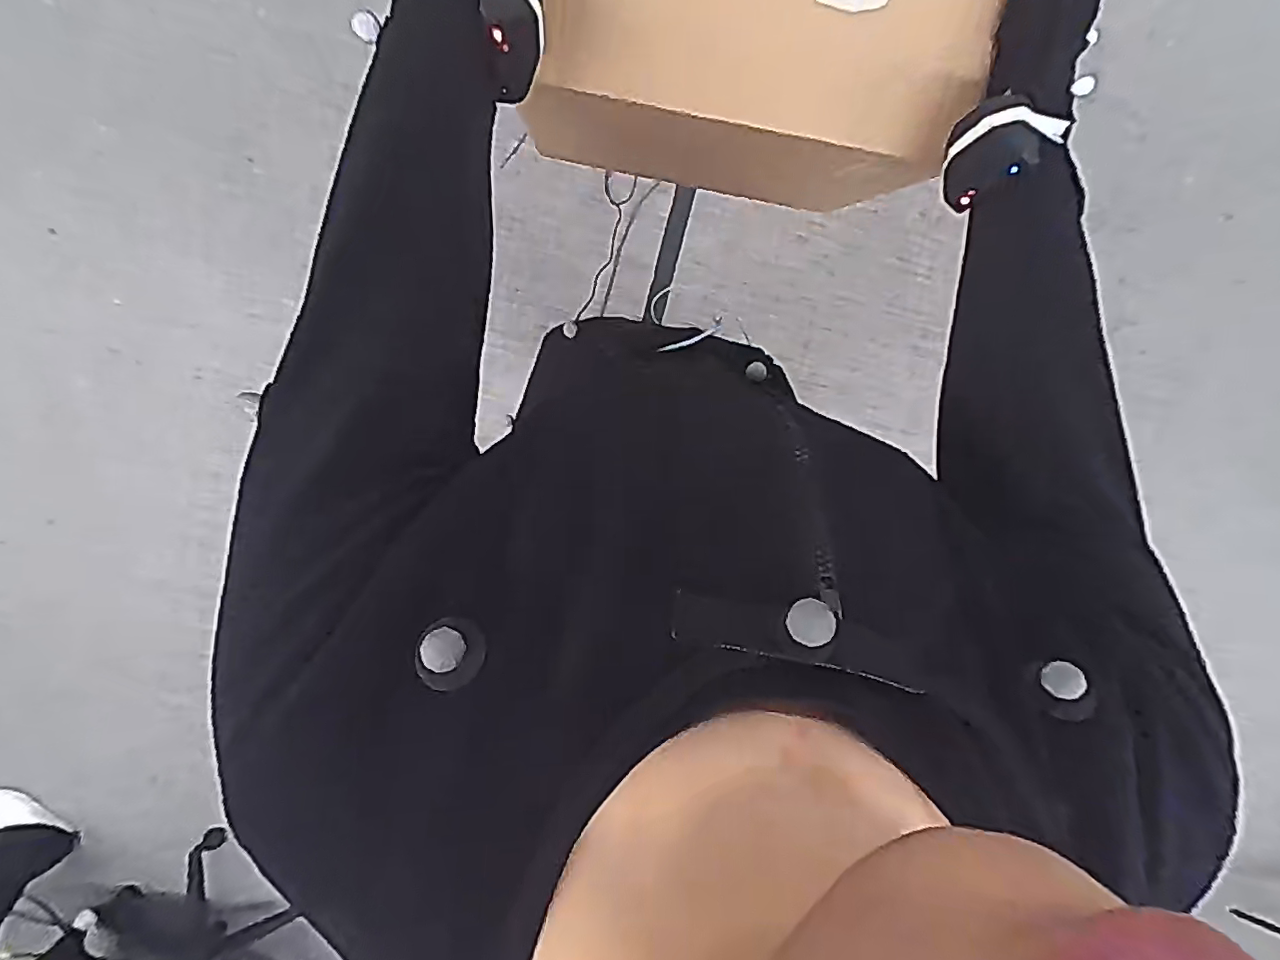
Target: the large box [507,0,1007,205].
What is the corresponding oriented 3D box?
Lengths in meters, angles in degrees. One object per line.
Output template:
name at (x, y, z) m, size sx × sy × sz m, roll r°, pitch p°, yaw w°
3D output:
large box at (0.098, -0.498, 0.547) m, size 0.408 × 0.320 × 0.320 m, roll 8°, pitch 110°, yaw -7°
